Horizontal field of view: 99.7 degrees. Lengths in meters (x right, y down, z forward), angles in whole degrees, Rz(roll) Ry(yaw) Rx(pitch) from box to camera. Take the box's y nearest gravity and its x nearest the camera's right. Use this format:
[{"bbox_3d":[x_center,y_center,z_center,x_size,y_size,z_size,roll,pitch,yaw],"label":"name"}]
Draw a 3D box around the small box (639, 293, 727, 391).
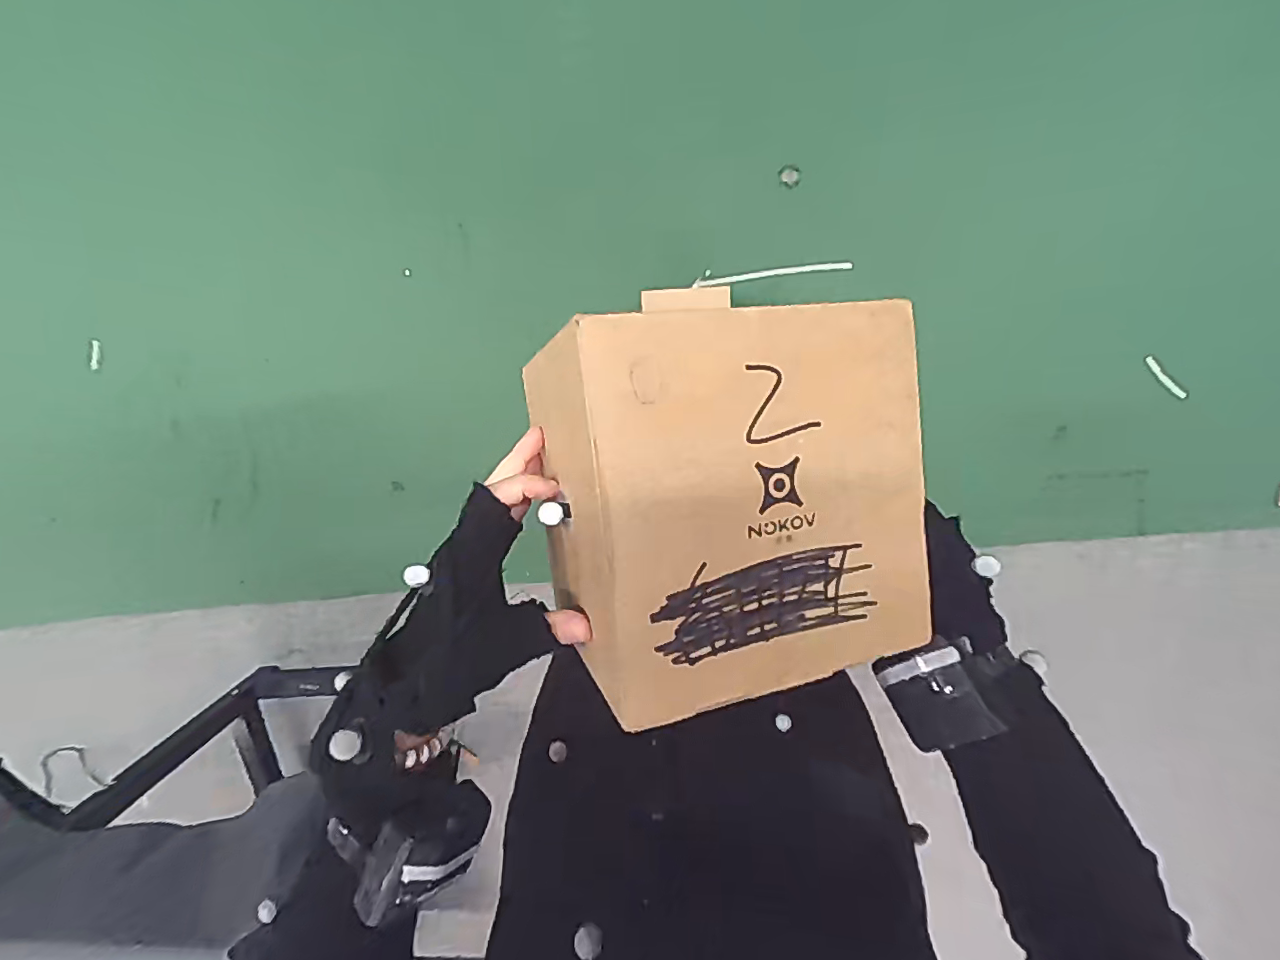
[{"bbox_3d":[0.089,-0.279,1.096,0.168,0.176,0.179,-1,105,6],"label":"small box"}]
